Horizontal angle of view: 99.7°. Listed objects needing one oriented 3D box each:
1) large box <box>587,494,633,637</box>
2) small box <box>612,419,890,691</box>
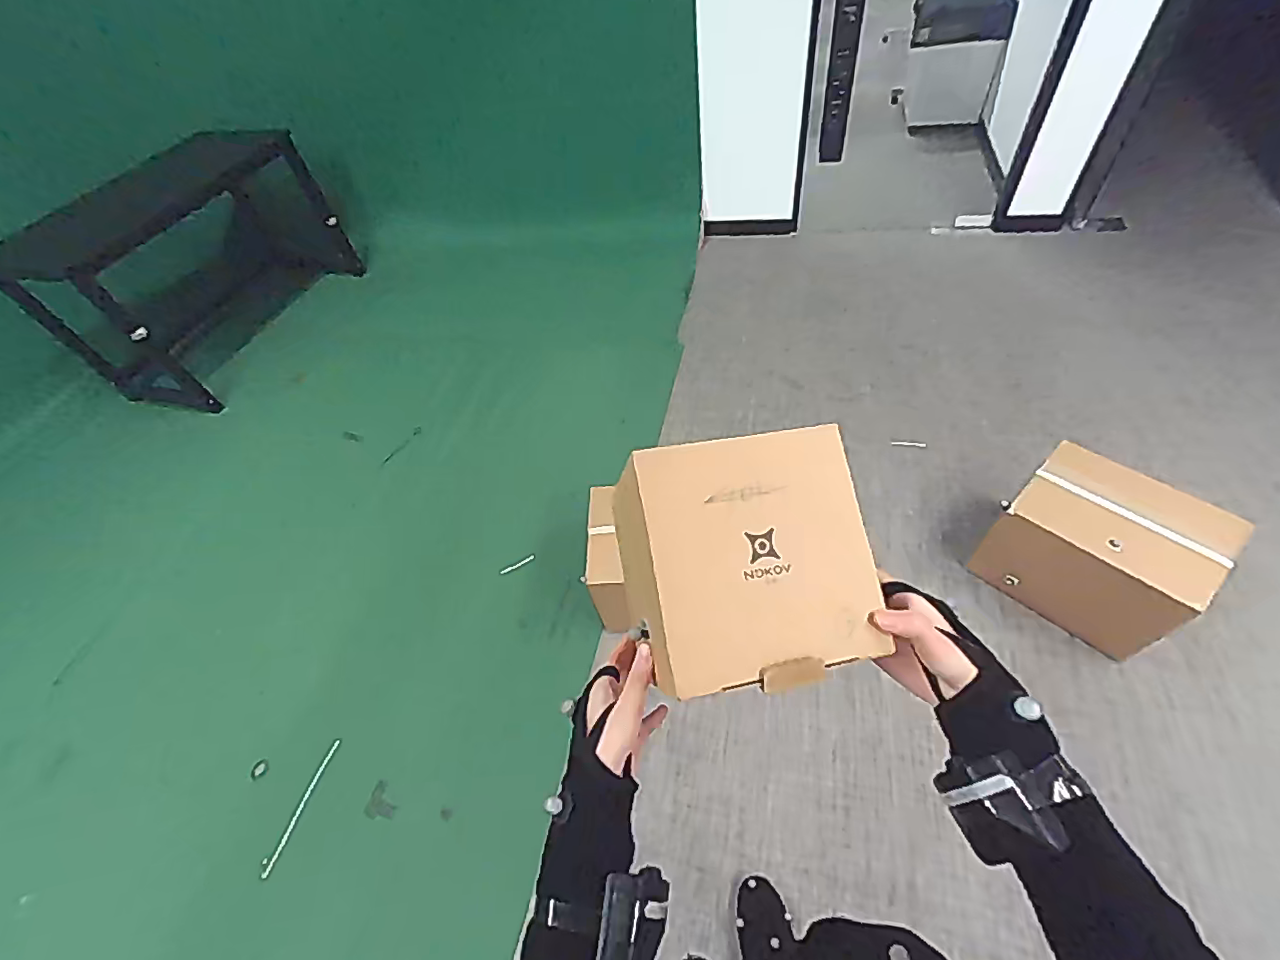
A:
[{"bbox_3d":[0.082,0.233,1.543,0.408,0.320,0.320,-6,50,6],"label":"large box"},{"bbox_3d":[0.074,0.065,0.463,0.168,0.176,0.179,-8,77,-11],"label":"small box"}]
